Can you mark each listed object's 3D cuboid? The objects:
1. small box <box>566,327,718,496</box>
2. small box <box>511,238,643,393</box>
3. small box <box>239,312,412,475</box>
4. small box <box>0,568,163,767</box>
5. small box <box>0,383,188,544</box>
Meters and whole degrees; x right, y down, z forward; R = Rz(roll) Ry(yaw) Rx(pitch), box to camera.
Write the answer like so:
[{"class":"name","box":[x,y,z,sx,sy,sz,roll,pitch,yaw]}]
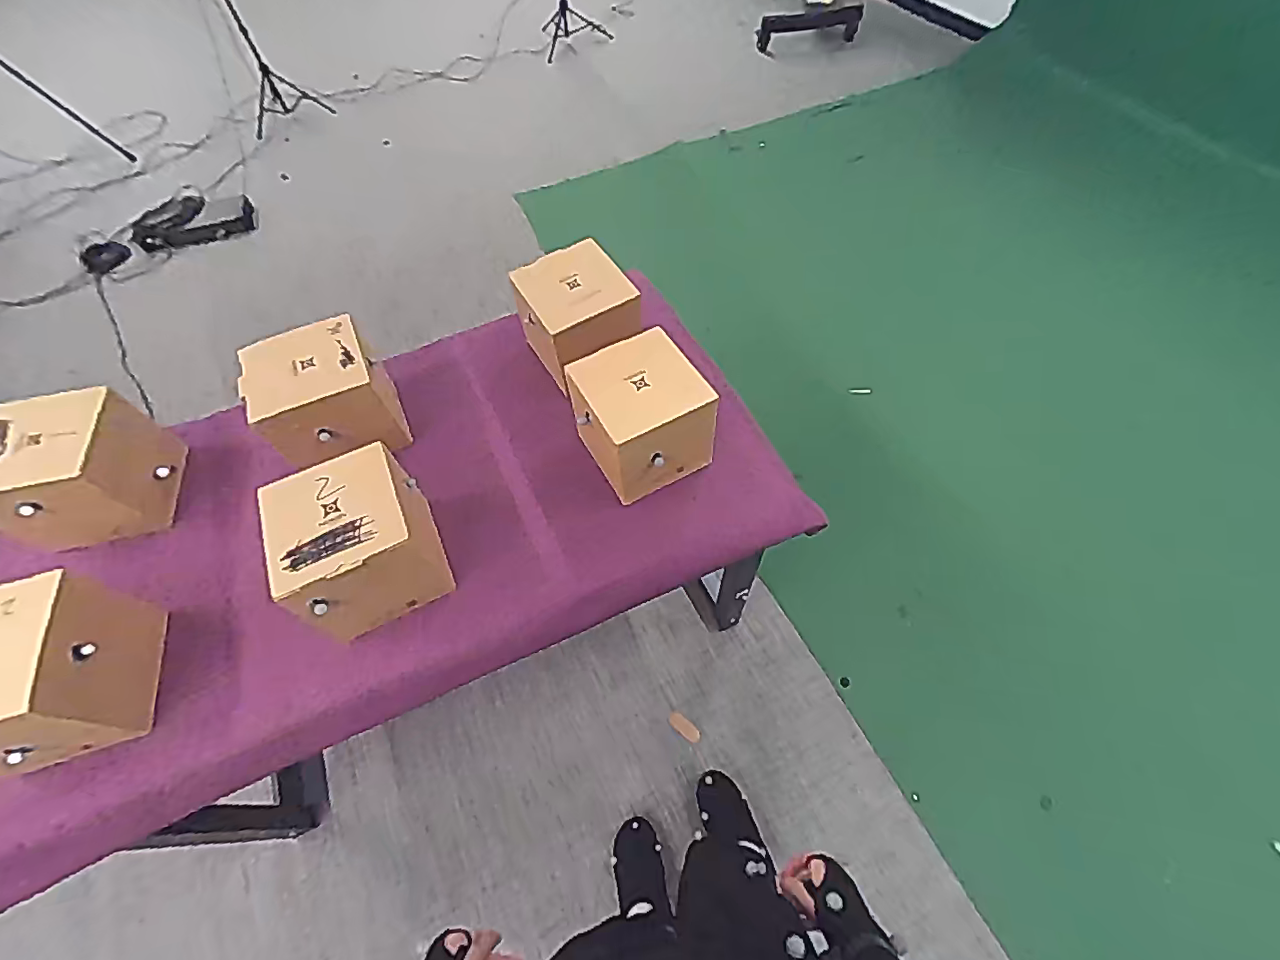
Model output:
[{"class":"small box","box":[0.006,-0.097,0.842,0.168,0.176,0.179,-26,59,-13]},{"class":"small box","box":[-0.106,-0.285,0.961,0.168,0.176,0.179,-28,63,-12]},{"class":"small box","box":[-0.505,-0.134,0.883,0.179,0.176,0.168,-24,63,-11]},{"class":"small box","box":[-0.740,0.237,0.663,0.168,0.176,0.179,-16,59,-8]},{"class":"small box","box":[-0.851,-0.018,0.822,0.179,0.176,0.168,-12,60,-7]}]
